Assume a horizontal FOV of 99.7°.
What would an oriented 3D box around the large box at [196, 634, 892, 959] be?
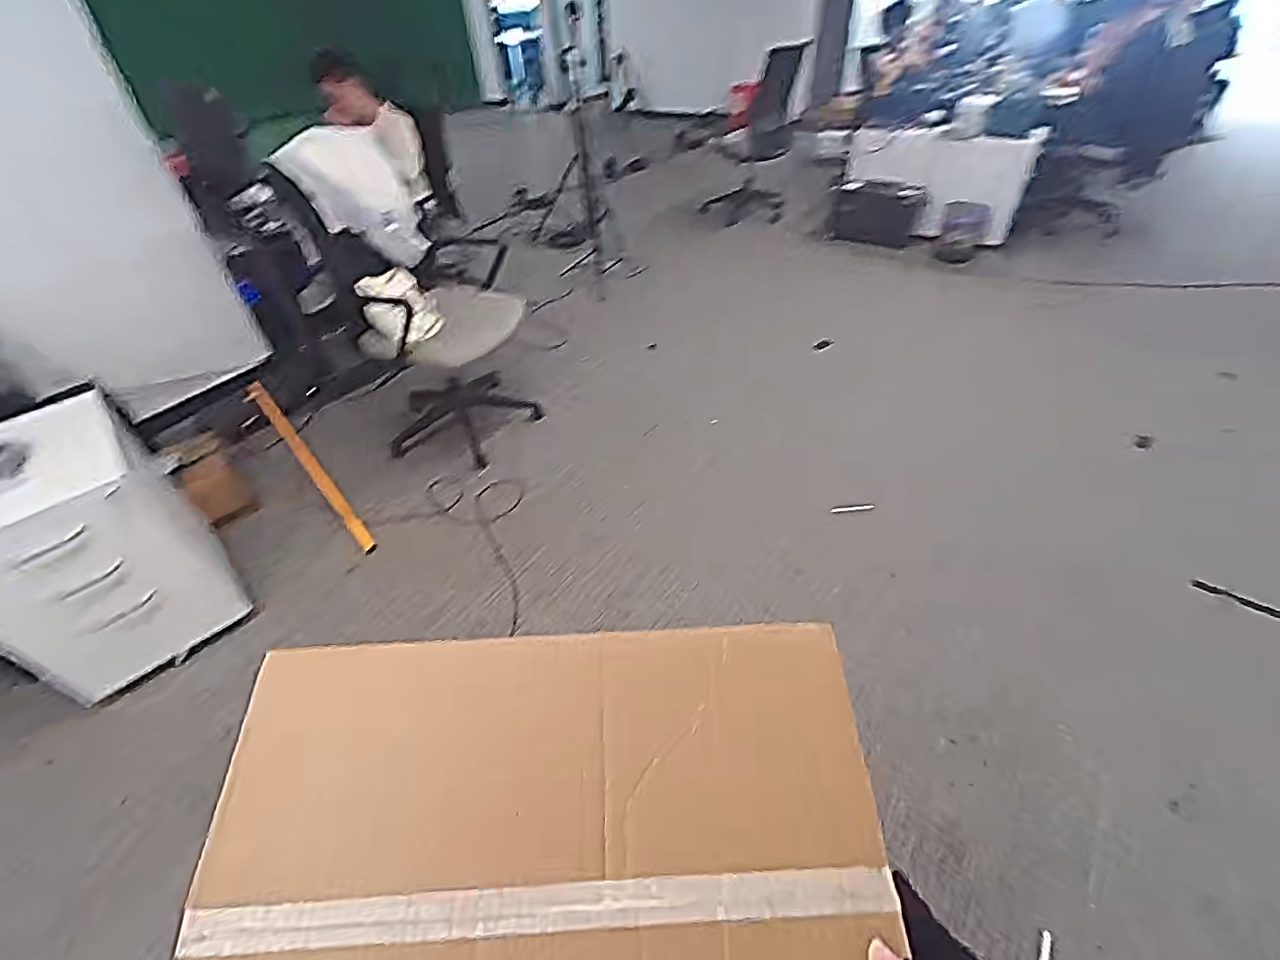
[{"bbox_3d":[-0.055,0.331,0.447,0.408,0.320,0.320,-2,59,0],"label":"large box"}]
